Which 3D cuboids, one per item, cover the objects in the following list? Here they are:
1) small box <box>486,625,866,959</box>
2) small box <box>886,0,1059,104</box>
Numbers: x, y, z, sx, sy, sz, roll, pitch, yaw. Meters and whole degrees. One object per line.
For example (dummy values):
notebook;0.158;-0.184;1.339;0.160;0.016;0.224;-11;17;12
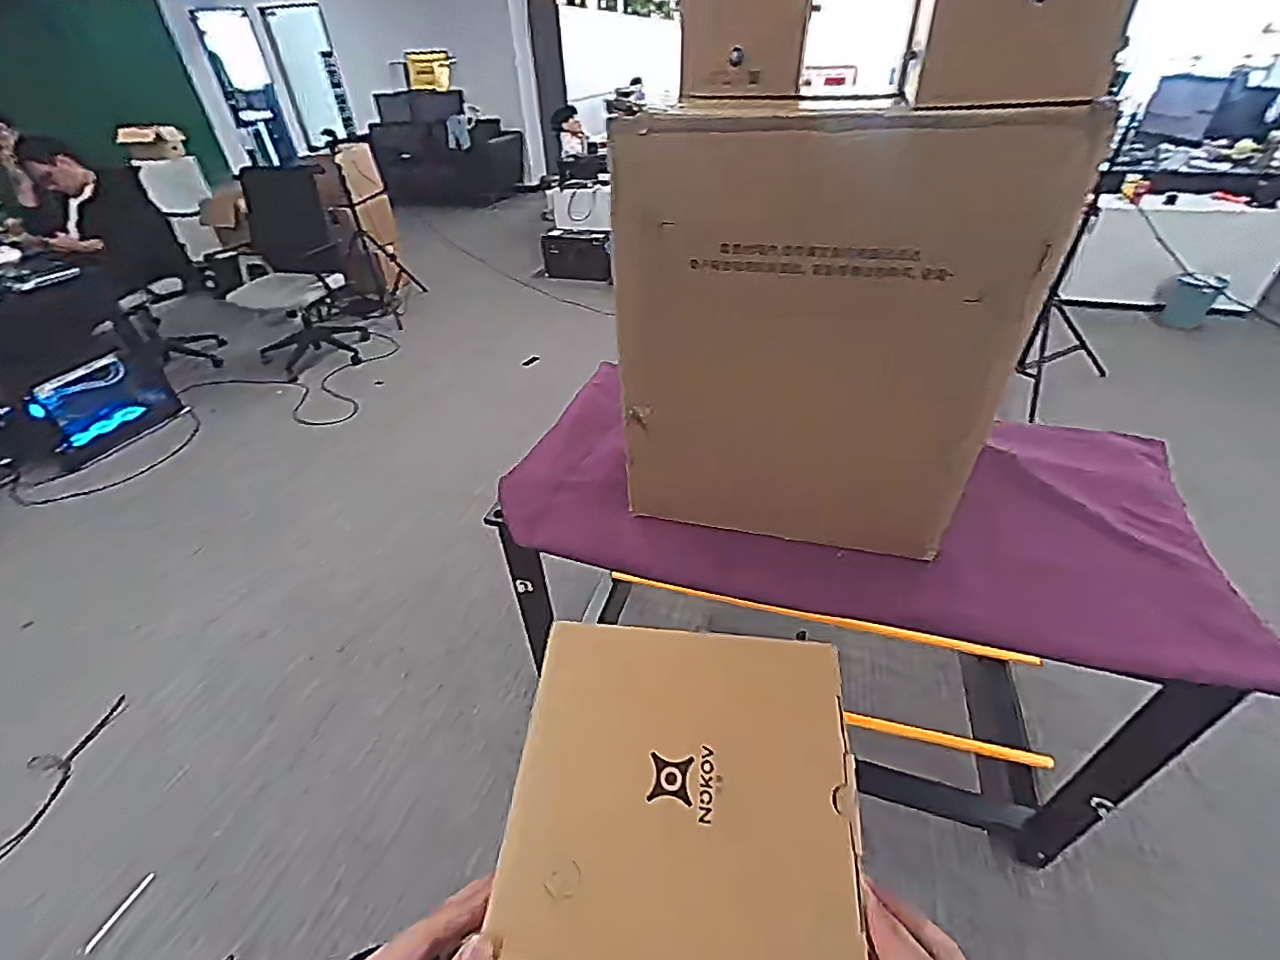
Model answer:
small box;0.029;0.211;0.350;0.179;0.176;0.168;3;51;8
small box;0.430;-0.602;0.710;0.168;0.176;0.179;8;39;16
